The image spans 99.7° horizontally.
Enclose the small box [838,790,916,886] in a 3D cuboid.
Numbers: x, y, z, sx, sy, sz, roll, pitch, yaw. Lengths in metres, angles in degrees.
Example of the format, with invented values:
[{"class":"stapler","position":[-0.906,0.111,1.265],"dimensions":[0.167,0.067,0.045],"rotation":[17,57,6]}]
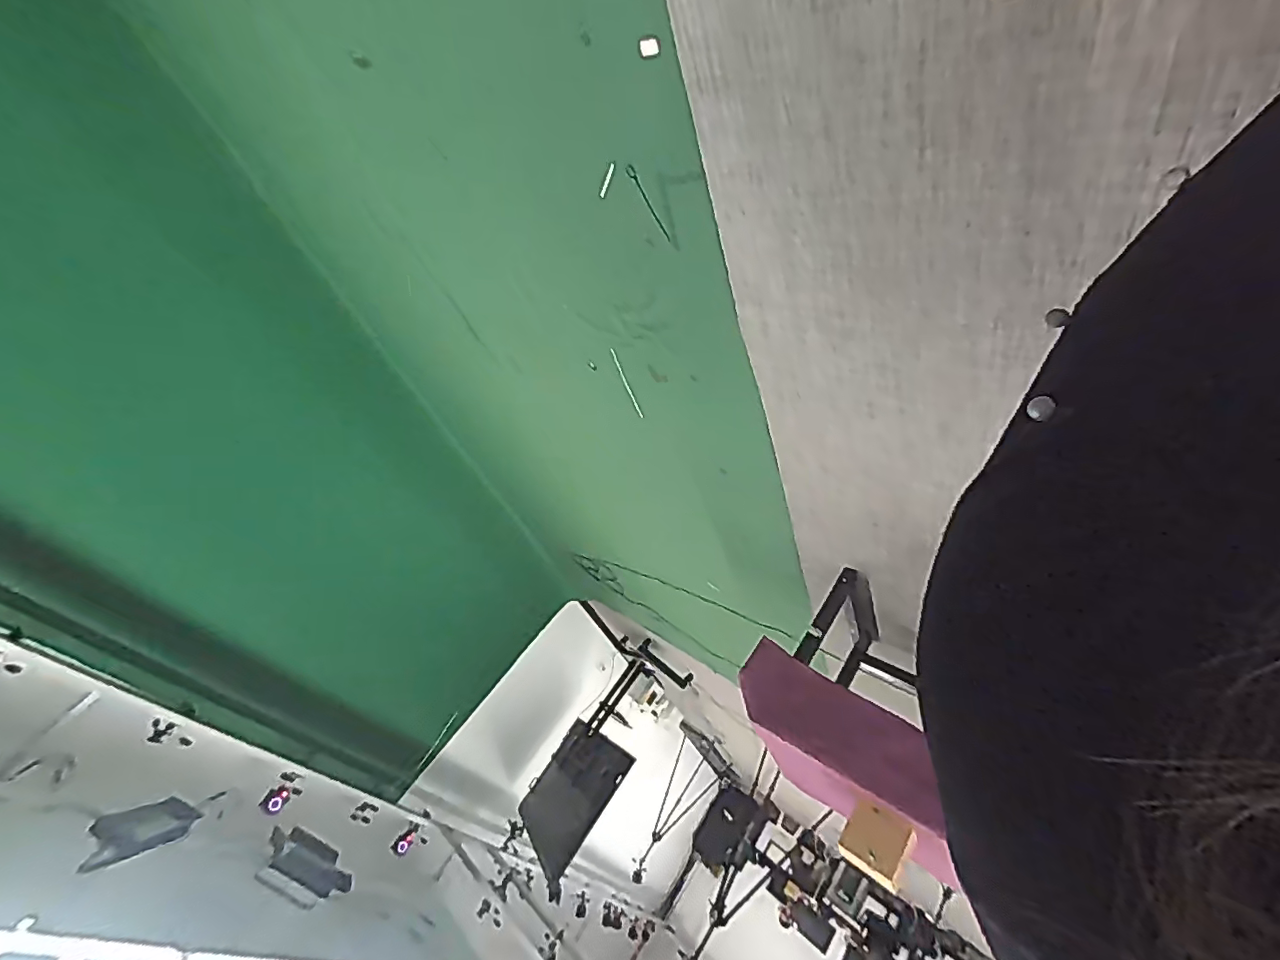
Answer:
[{"class":"small box","position":[0.736,1.100,1.669],"dimensions":[0.168,0.176,0.179],"rotation":[16,148,41]}]
